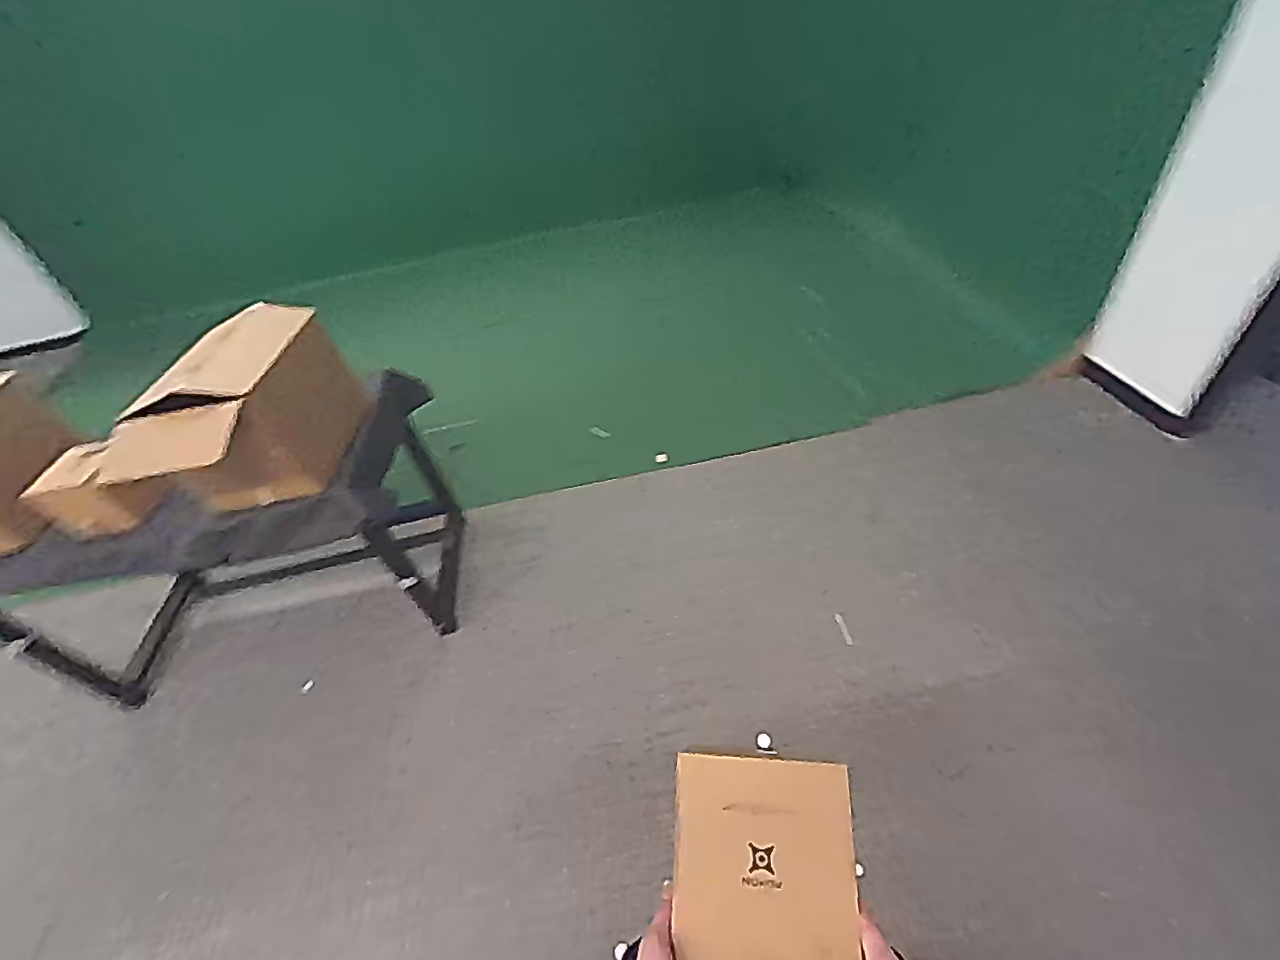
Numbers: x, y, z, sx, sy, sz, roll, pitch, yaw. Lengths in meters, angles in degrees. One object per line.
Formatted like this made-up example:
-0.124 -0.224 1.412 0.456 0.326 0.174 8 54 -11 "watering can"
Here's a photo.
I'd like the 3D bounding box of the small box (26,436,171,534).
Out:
-1.384 0.015 1.402 0.168 0.176 0.179 -10 45 3 "small box"
